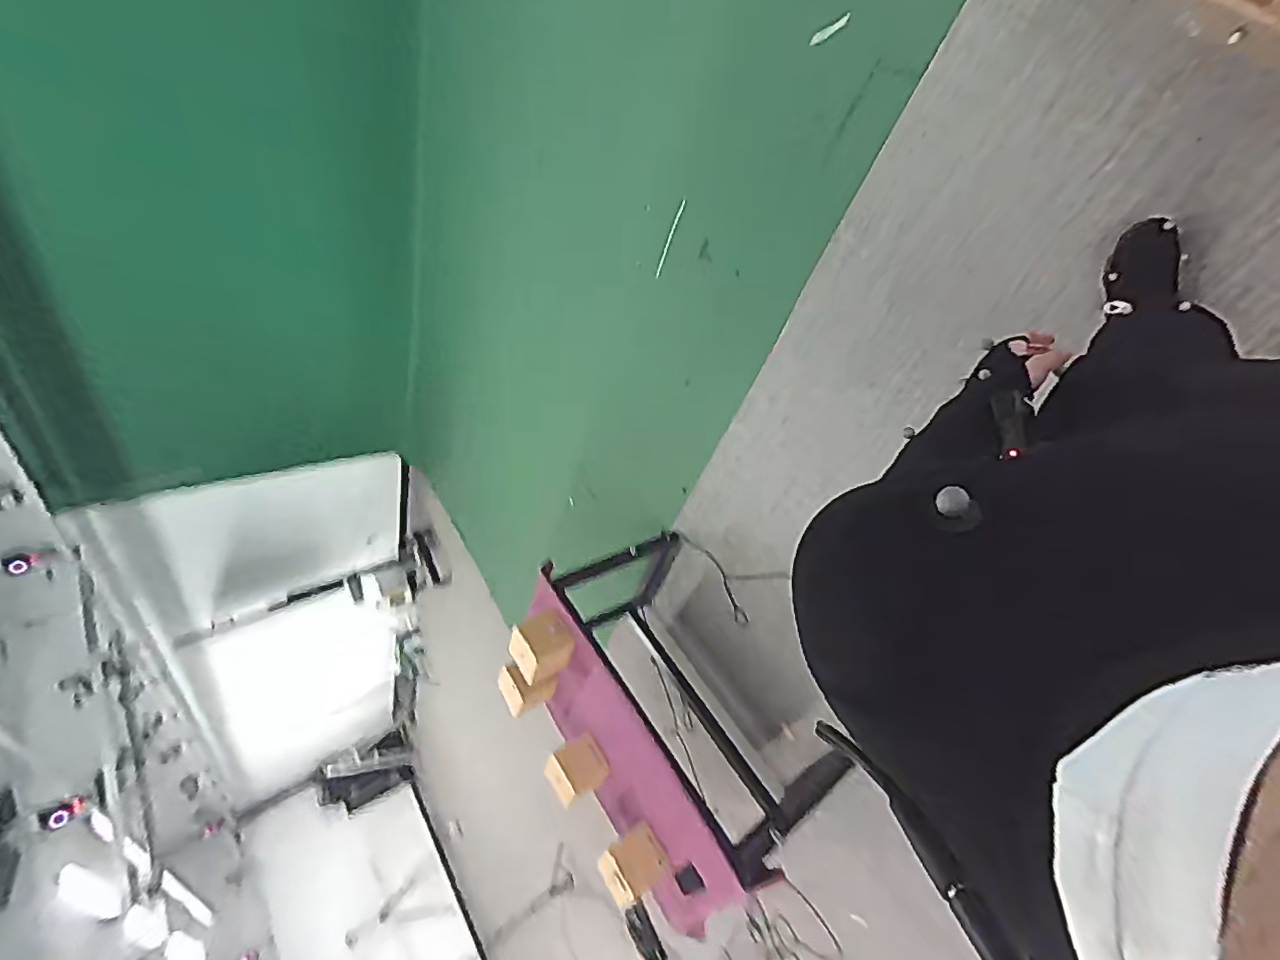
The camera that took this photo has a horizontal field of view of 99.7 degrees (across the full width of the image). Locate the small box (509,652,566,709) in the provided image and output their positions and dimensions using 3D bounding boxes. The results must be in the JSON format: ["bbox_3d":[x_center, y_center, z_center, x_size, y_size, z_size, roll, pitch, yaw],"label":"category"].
[{"bbox_3d":[-0.428,0.815,2.259,0.168,0.176,0.179,50,138,27],"label":"small box"}]

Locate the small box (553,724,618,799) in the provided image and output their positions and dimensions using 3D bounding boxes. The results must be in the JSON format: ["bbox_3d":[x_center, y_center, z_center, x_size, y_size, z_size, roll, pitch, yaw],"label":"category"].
[{"bbox_3d":[-0.208,1.079,2.078,0.168,0.176,0.179,49,136,28],"label":"small box"}]

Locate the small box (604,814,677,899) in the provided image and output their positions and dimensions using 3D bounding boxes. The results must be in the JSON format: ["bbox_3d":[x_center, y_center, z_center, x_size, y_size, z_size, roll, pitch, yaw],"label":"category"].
[{"bbox_3d":[0.005,1.307,1.886,0.168,0.176,0.179,50,138,29],"label":"small box"}]

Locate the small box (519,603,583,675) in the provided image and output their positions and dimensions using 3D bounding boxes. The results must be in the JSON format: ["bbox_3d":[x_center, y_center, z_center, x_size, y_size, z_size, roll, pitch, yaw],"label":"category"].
[{"bbox_3d":[-0.337,0.601,2.054,0.168,0.176,0.179,48,136,28],"label":"small box"}]
